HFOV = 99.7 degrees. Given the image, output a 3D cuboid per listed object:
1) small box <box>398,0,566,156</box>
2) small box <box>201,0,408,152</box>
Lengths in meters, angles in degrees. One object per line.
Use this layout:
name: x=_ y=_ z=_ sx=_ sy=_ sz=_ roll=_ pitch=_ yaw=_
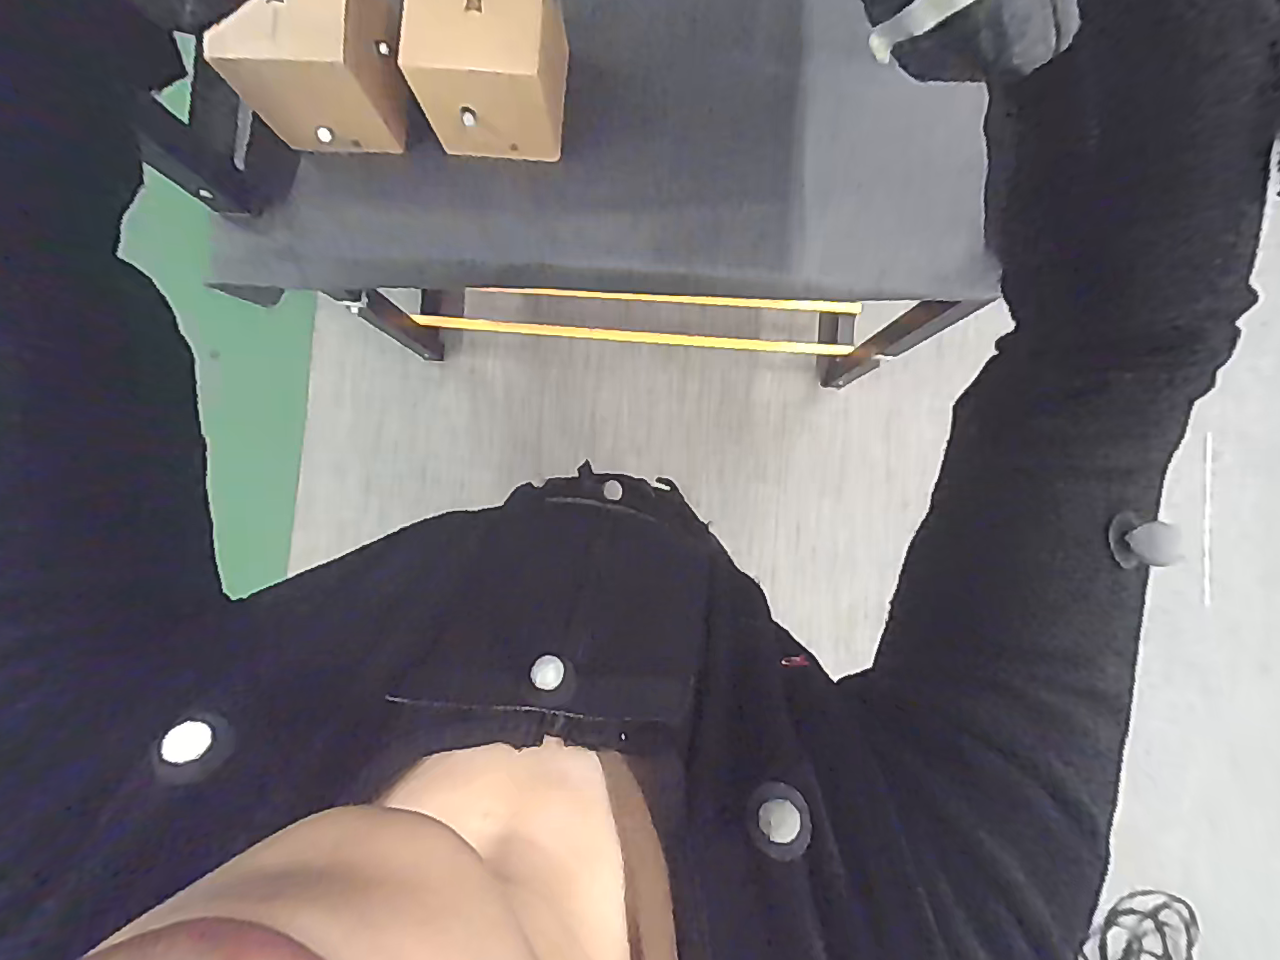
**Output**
small box: x=-0.193 y=-0.559 z=0.708 sx=0.168 sy=0.176 sz=0.179 roll=4 pitch=87 yaw=0
small box: x=-0.420 y=-0.569 z=0.705 sx=0.168 sy=0.176 sz=0.179 roll=2 pitch=88 yaw=0
